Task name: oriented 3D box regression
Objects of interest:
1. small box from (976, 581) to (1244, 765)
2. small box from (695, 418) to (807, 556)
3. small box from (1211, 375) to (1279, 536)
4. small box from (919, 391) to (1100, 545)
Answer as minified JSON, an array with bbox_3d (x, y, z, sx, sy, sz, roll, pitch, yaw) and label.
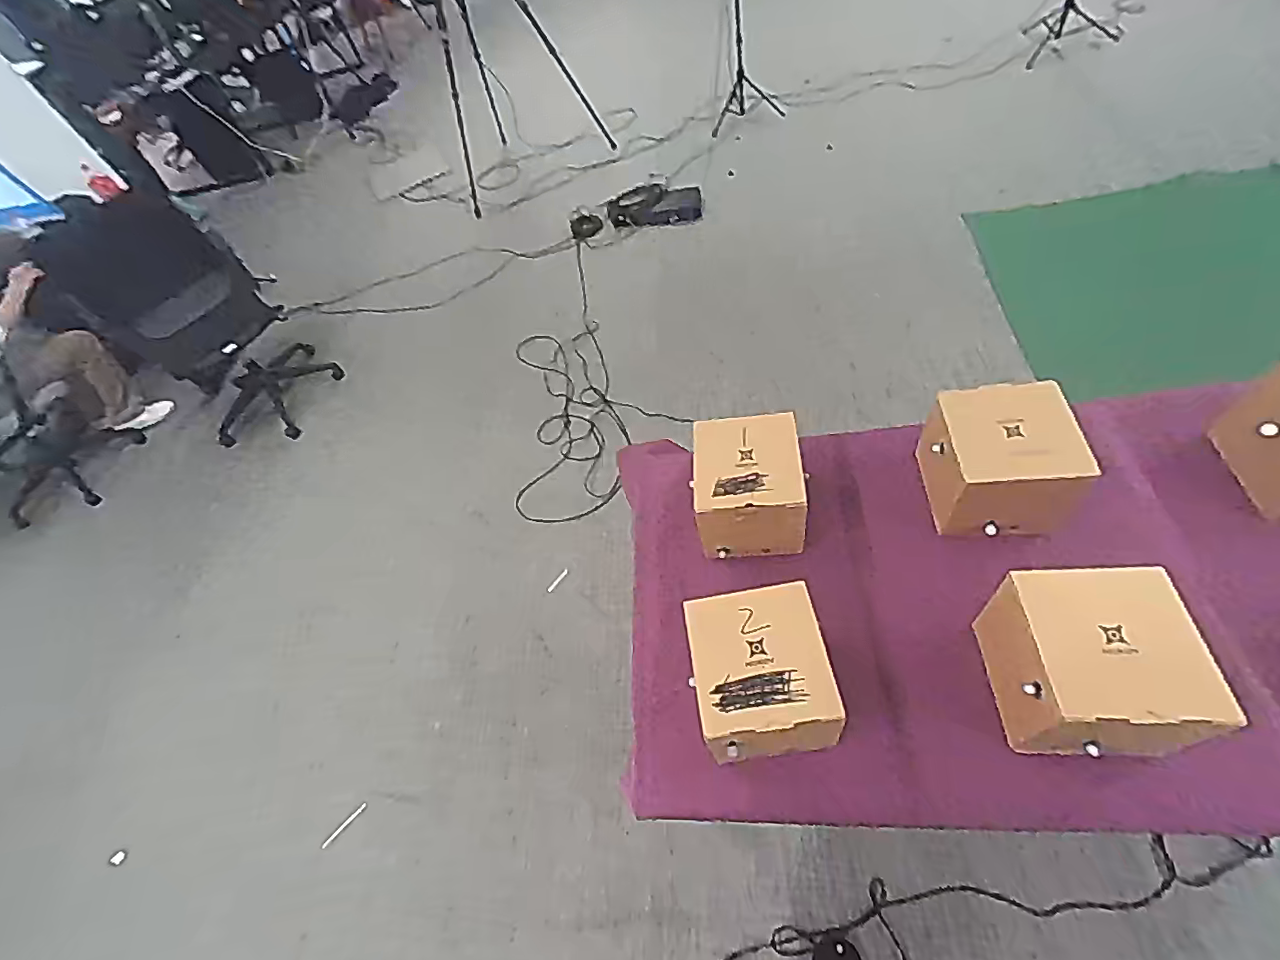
[{"bbox_3d":[0.548,0.240,0.670,0.168,0.176,0.179,-3,55,11],"label":"small box"},{"bbox_3d":[0.182,0.020,0.900,0.168,0.176,0.179,-3,56,10],"label":"small box"},{"bbox_3d":[0.981,-0.037,0.757,0.168,0.176,0.179,-4,55,11],"label":"small box"},{"bbox_3d":[0.554,-0.015,0.843,0.168,0.176,0.179,-3,57,12],"label":"small box"}]
